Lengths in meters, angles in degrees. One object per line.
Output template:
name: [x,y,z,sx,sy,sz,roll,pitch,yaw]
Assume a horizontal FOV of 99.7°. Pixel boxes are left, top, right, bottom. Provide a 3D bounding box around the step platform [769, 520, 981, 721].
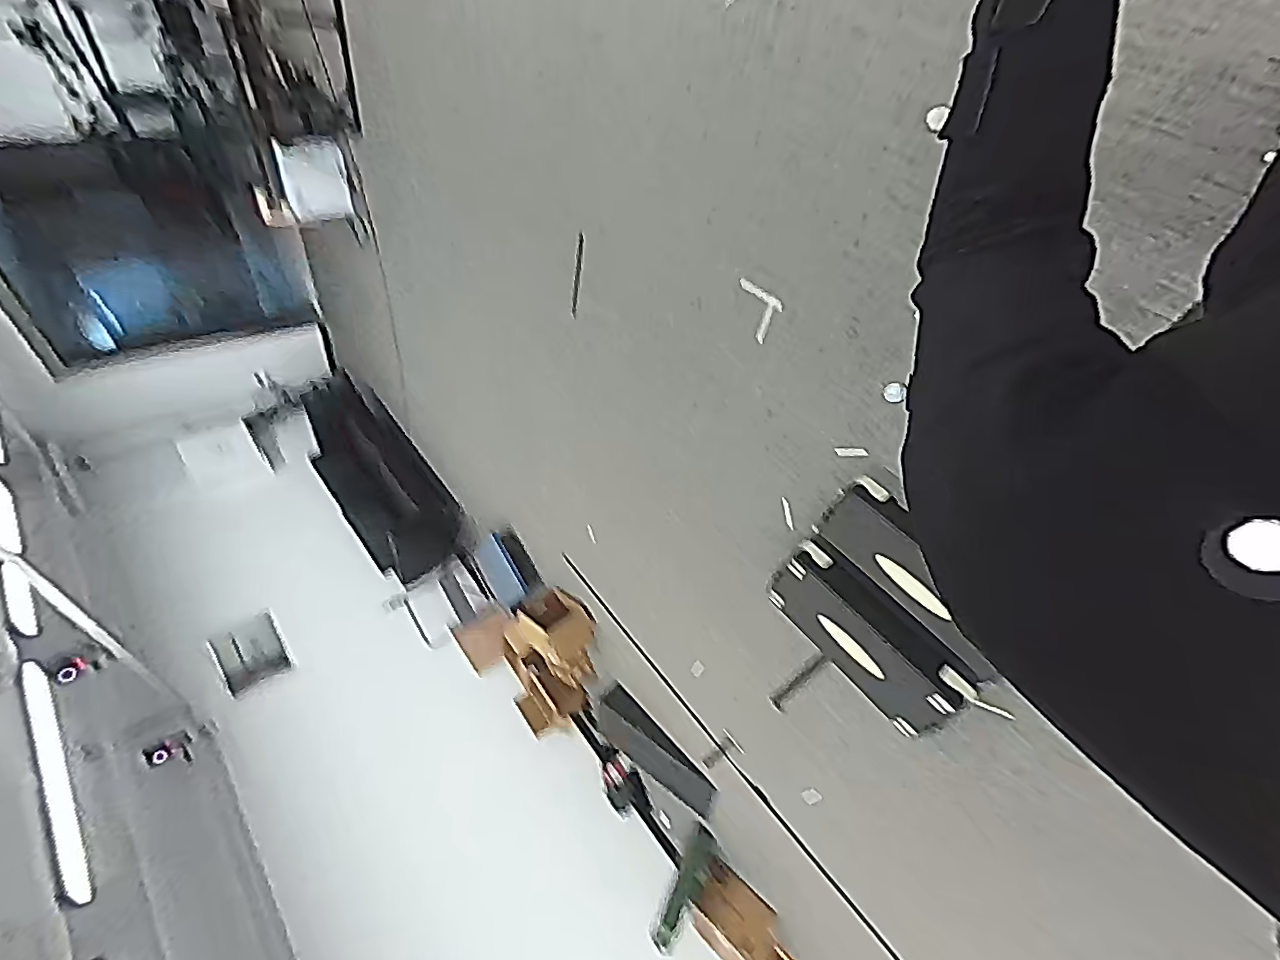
step platform: [0.763,0.469,1.846,0.684,0.204,0.286,47,144,26]
